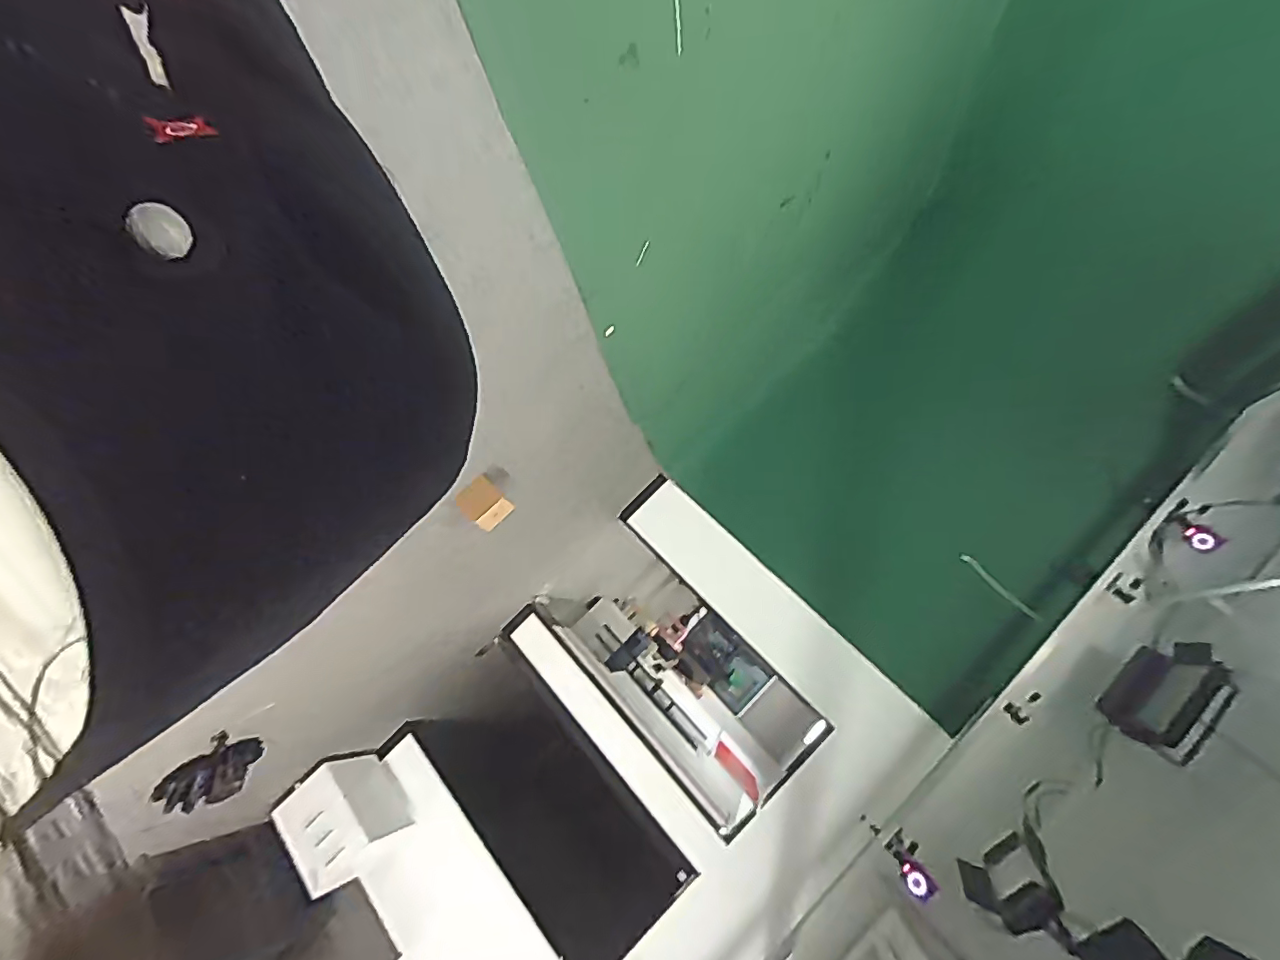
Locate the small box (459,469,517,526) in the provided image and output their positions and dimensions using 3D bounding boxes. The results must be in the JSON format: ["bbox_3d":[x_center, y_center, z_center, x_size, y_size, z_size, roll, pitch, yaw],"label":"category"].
[{"bbox_3d":[-0.723,0.081,2.549,0.179,0.176,0.168,-46,160,-8],"label":"small box"}]
